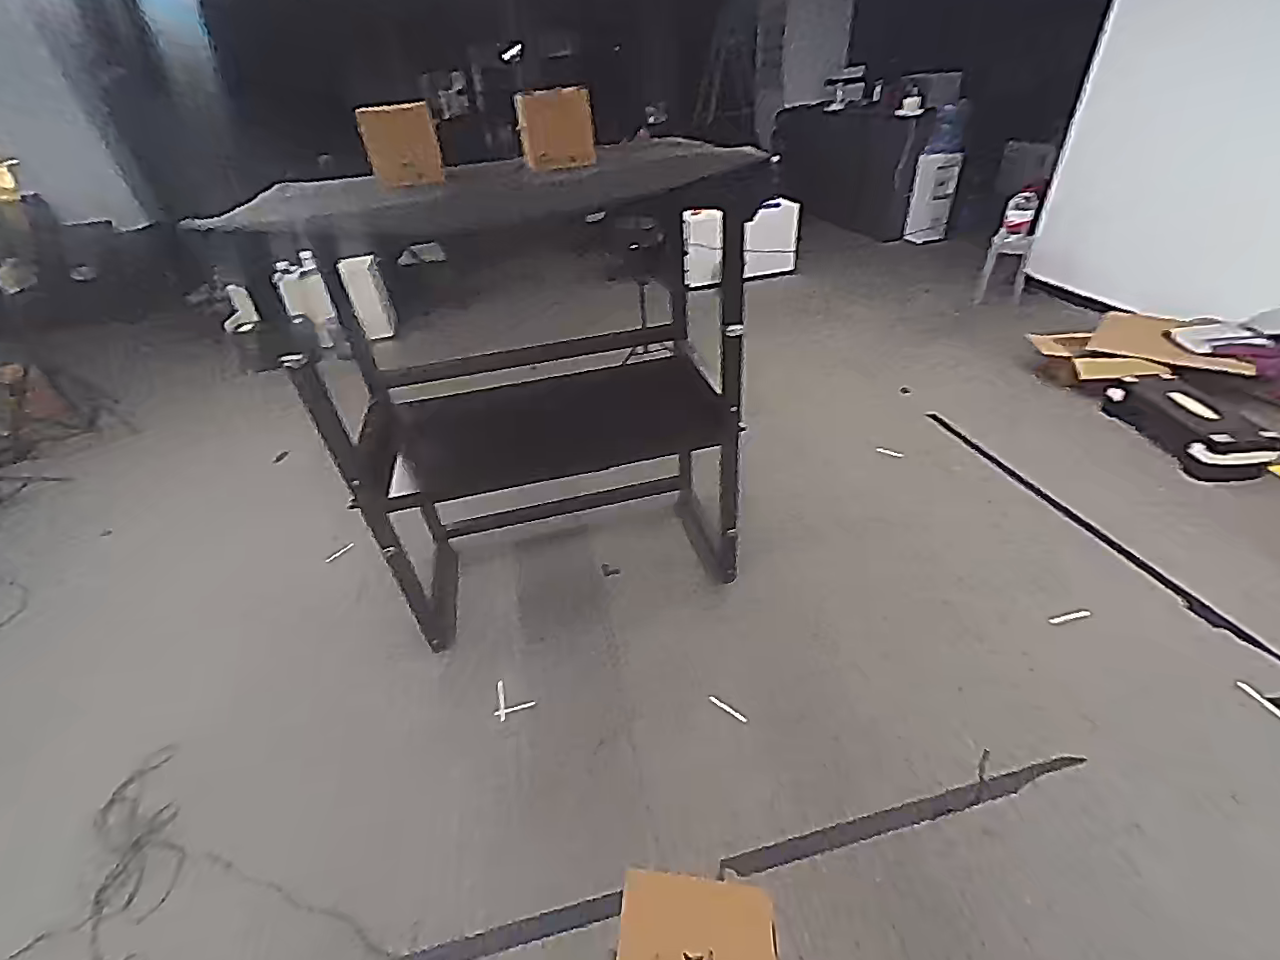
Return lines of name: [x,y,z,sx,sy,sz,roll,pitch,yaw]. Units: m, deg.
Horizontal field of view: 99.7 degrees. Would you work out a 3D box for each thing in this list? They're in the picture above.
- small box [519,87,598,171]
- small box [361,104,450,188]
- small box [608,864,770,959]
small box: [-0.214,-0.928,1.432,0.168,0.176,0.179,-13,37,-10]
small box: [-0.602,-0.872,1.411,0.168,0.176,0.179,-14,38,-10]
small box: [0.051,0.579,0.630,0.179,0.176,0.168,4,39,3]
